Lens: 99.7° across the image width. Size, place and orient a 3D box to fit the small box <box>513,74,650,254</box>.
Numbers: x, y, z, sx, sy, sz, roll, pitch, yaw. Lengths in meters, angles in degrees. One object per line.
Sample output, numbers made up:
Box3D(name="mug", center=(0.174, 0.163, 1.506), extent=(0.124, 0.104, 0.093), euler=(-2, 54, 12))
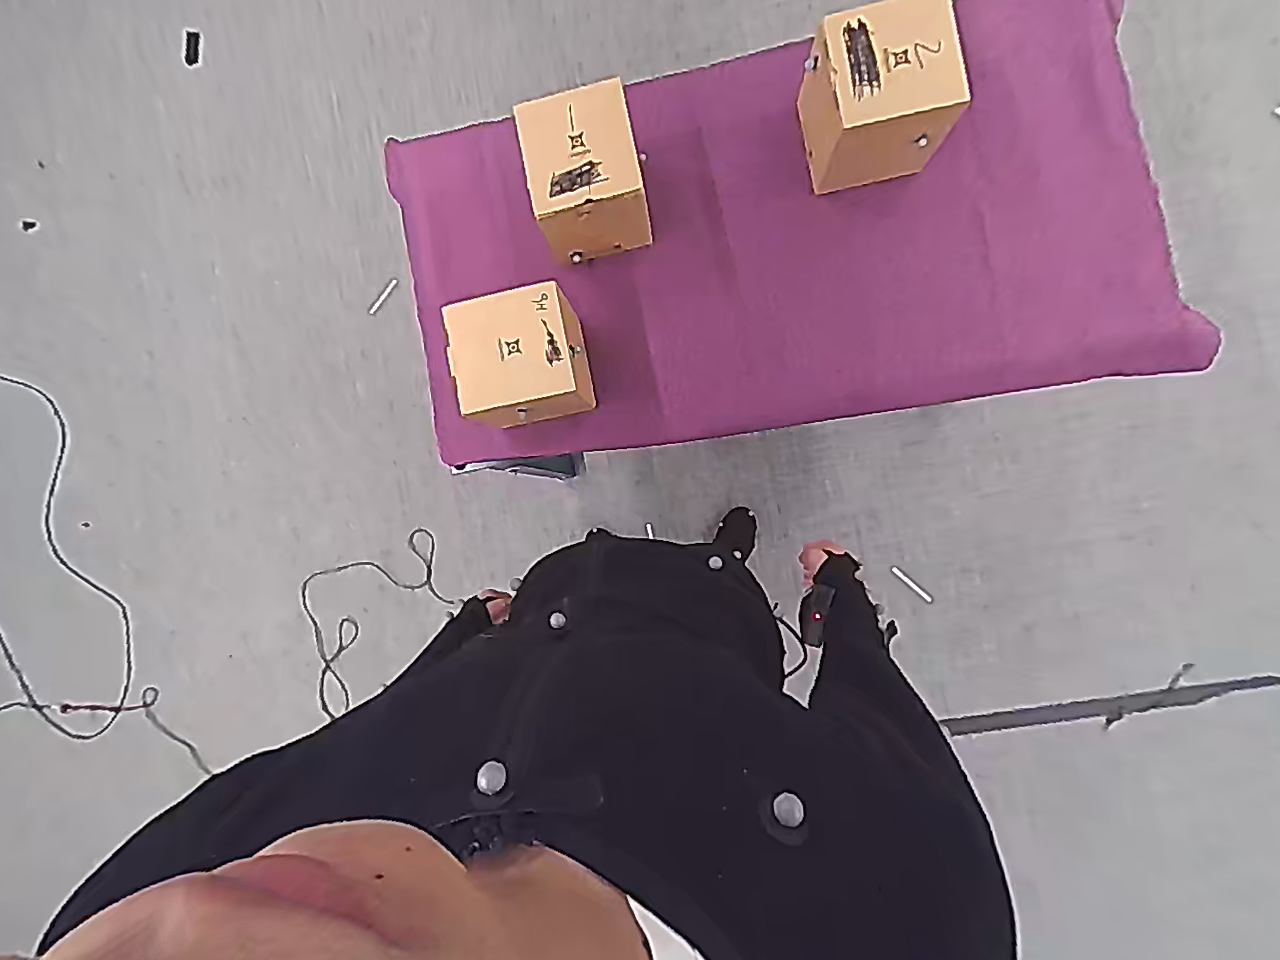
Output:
Box3D(name="small box", center=(-0.083, -0.484, 0.862), extent=(0.168, 0.176, 0.179), euler=(-12, 87, 5))

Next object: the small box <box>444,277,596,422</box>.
Box3D(name="small box", center=(-0.182, -0.195, 0.860), extent=(0.179, 0.176, 0.168), euler=(-11, 88, 6))
